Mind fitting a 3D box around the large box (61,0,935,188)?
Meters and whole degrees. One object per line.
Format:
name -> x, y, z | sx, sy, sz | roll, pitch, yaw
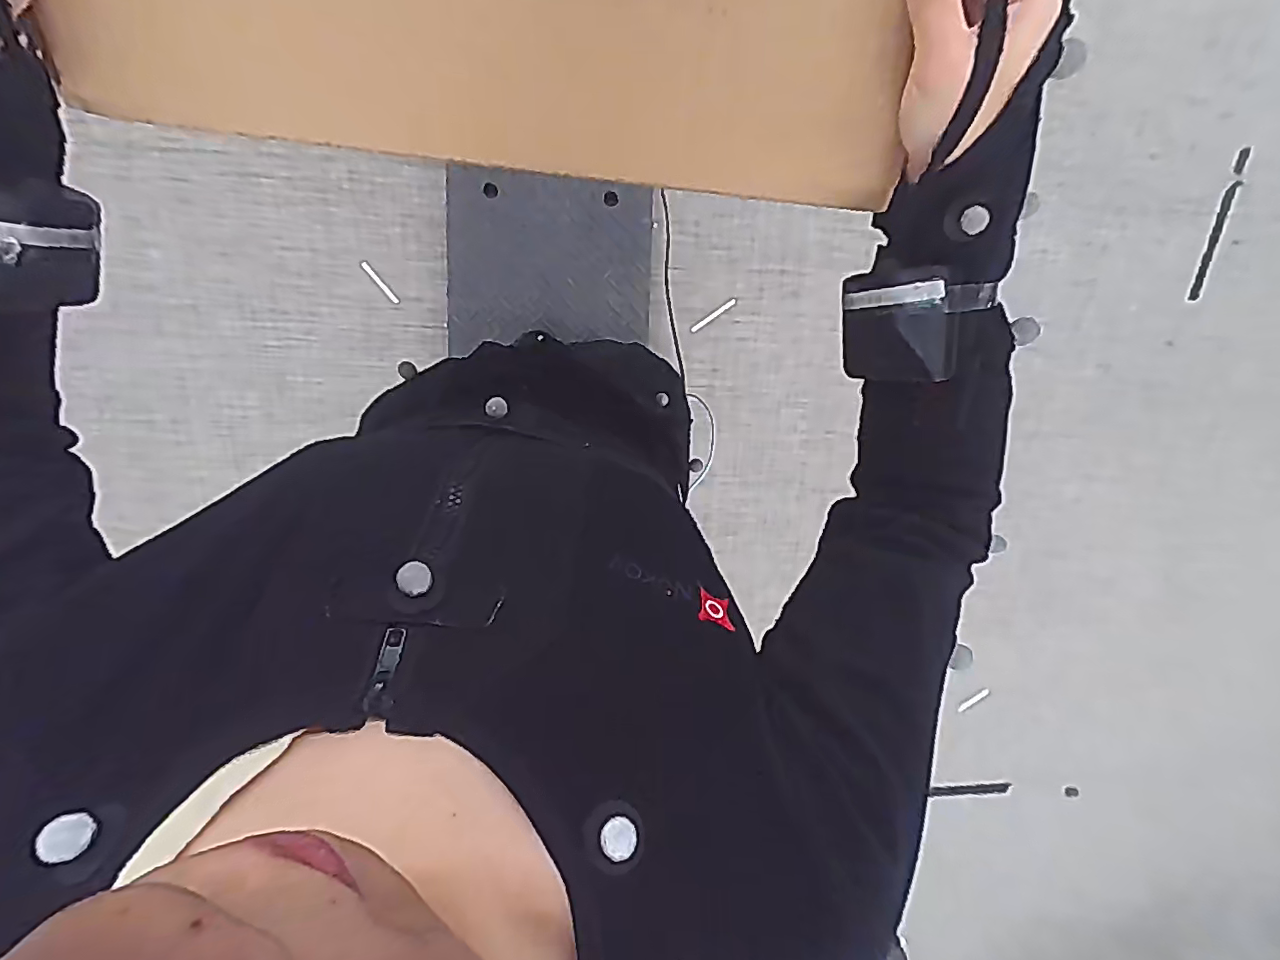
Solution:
large box -> -0.059, -0.381, 0.323 | 0.408, 0.320, 0.320 | 3, 124, -7
